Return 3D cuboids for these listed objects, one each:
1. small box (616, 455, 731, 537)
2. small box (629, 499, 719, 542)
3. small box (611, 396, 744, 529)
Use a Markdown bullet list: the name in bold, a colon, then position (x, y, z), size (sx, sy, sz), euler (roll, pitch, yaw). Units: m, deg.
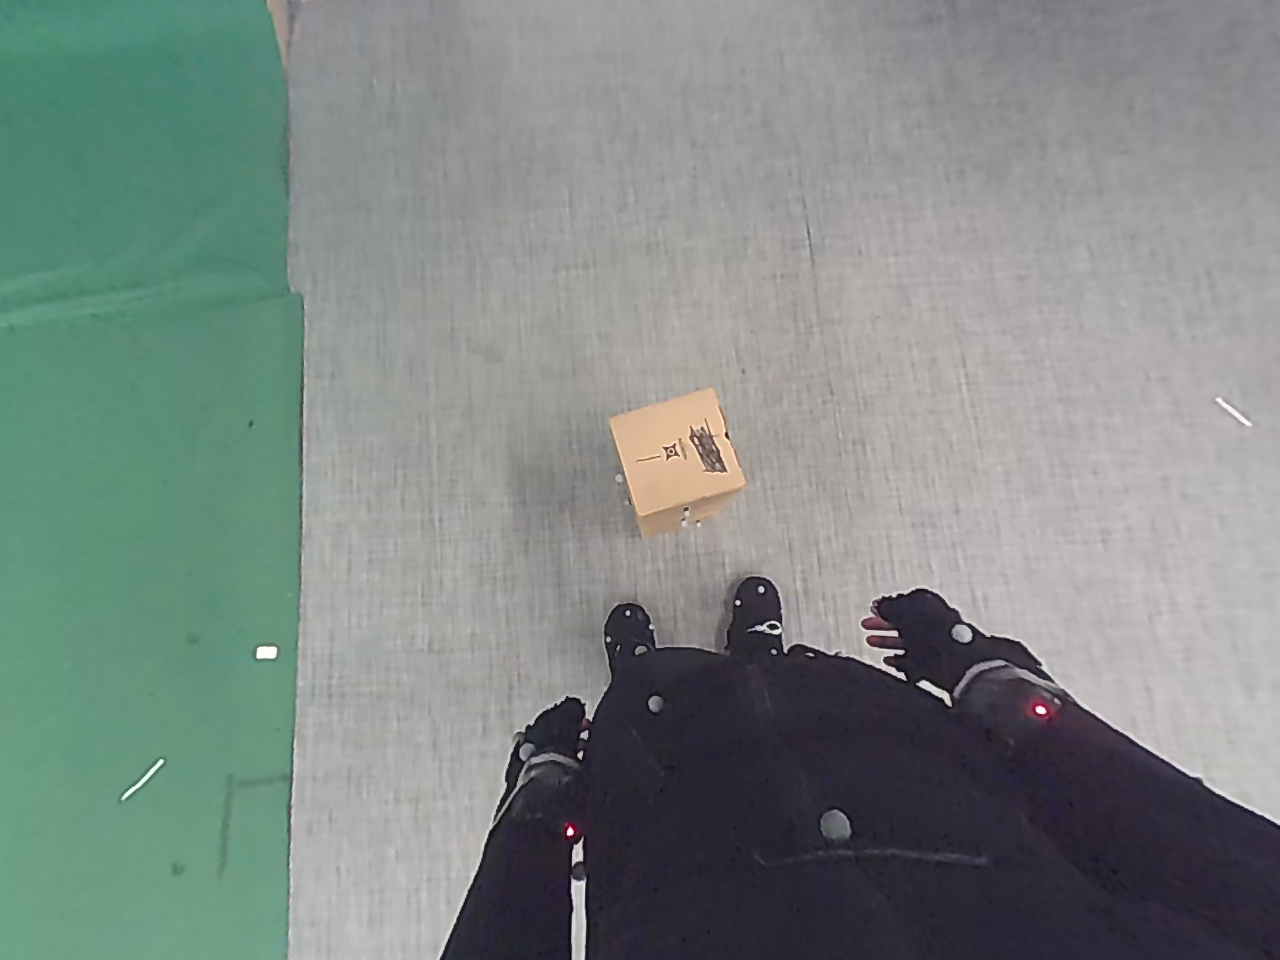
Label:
- **small box**: position (0.062, 0.009, 1.081), size (0.179, 0.176, 0.168), euler (-20, 81, -1)
- **small box**: position (0.066, 0.039, 1.240), size (0.179, 0.176, 0.168), euler (-18, 79, 0)
- **small box**: position (0.058, -0.022, 0.917), size (0.179, 0.176, 0.168), euler (-16, 80, 0)
